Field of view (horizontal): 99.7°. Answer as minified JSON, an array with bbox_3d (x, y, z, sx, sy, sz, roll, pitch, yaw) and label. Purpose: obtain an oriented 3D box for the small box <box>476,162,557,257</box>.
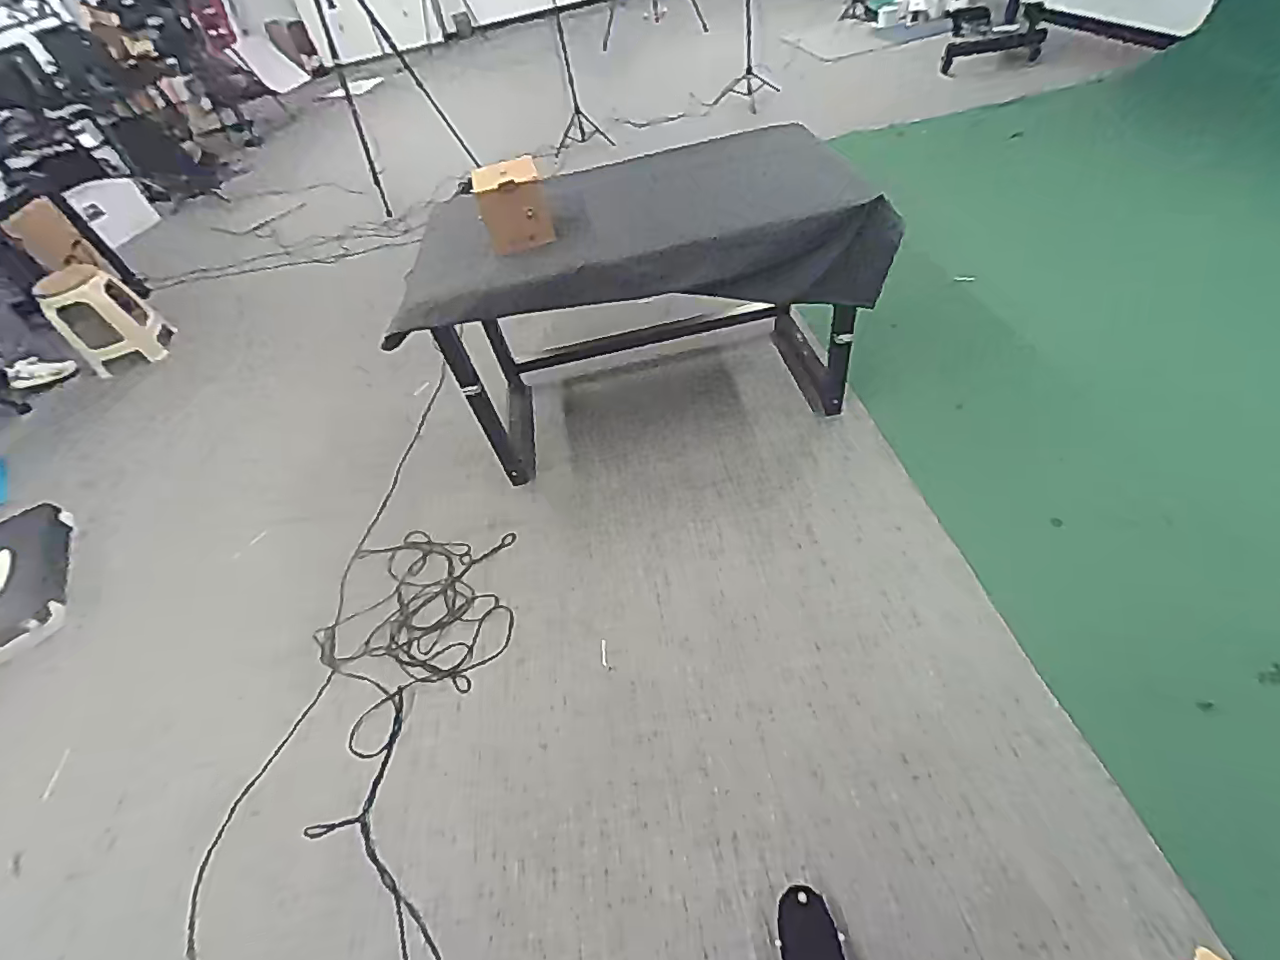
[{"bbox_3d":[-0.328,-0.719,1.447,0.168,0.176,0.179,-16,47,-4],"label":"small box"}]
